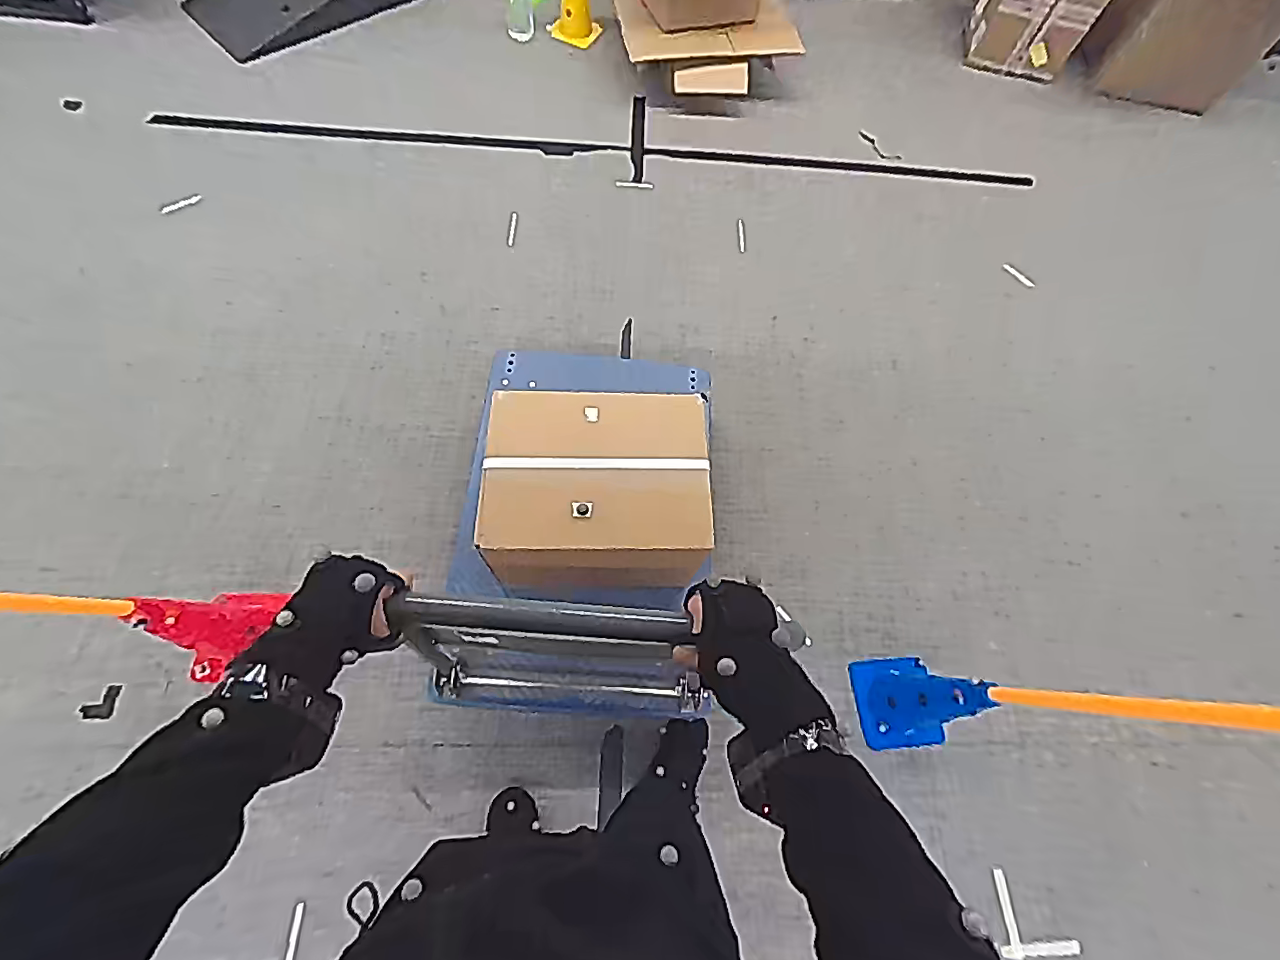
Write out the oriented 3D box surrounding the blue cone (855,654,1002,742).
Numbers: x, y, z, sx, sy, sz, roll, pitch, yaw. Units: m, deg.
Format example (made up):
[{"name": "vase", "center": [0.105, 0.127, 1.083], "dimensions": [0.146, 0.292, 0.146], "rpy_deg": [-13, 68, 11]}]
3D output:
[{"name": "blue cone", "center": [0.640, 0.456, 1.160], "dimensions": [0.193, 0.380, 0.192], "rpy_deg": [-1, 65, -6]}]
